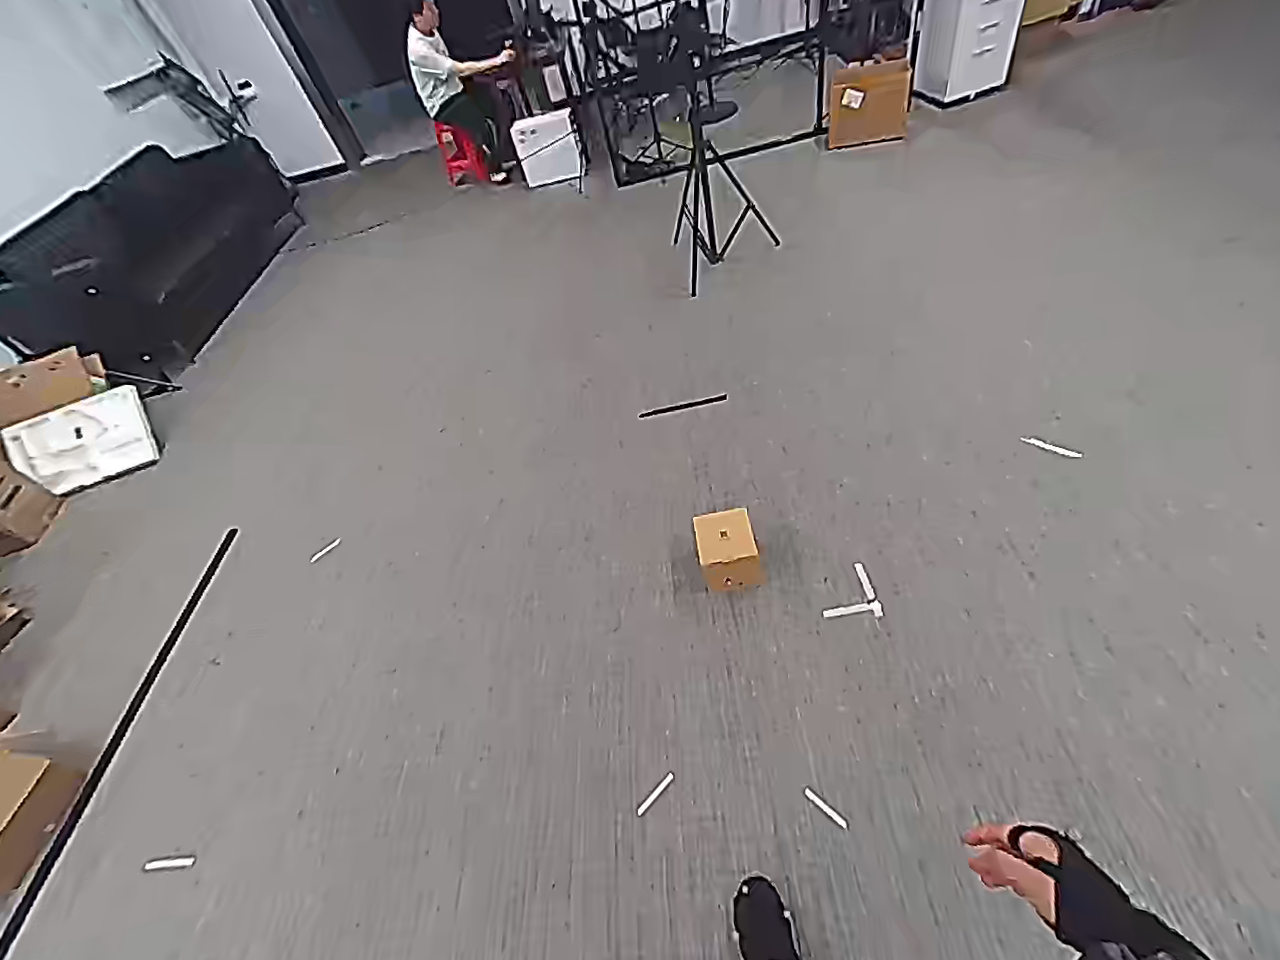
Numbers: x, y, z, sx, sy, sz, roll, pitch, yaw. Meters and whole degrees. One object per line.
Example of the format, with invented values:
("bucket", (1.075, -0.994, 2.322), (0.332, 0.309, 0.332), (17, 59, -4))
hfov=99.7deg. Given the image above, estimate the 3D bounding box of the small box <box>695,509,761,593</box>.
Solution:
("small box", (0.266, 0.217, 1.639), (0.168, 0.176, 0.179), (-12, 48, 6))
